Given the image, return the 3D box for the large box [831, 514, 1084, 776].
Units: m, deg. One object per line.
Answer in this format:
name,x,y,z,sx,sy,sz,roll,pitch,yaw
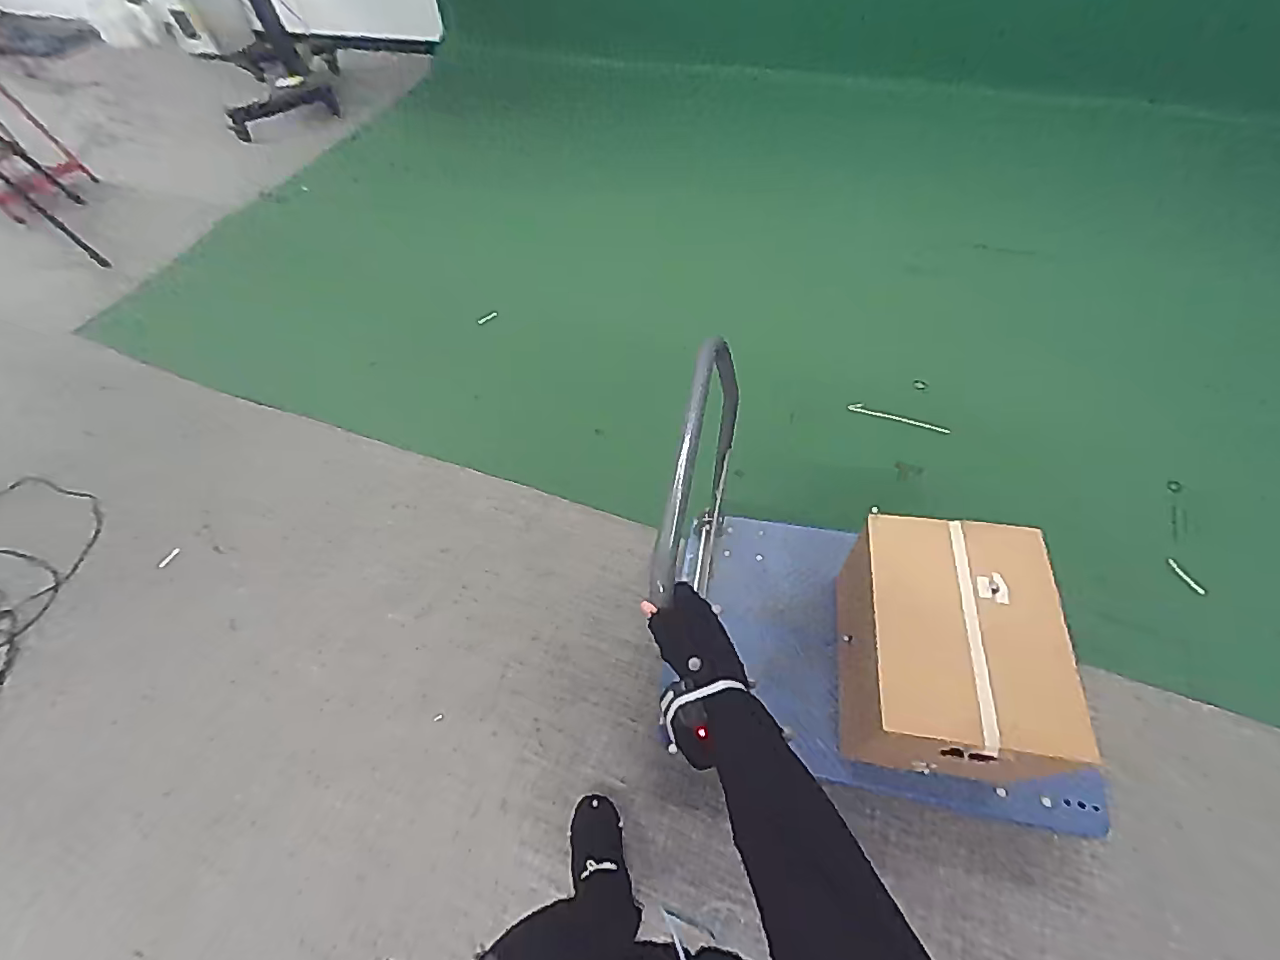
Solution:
large box,0.571,0.328,1.074,0.320,0.320,0.408,6,56,9
